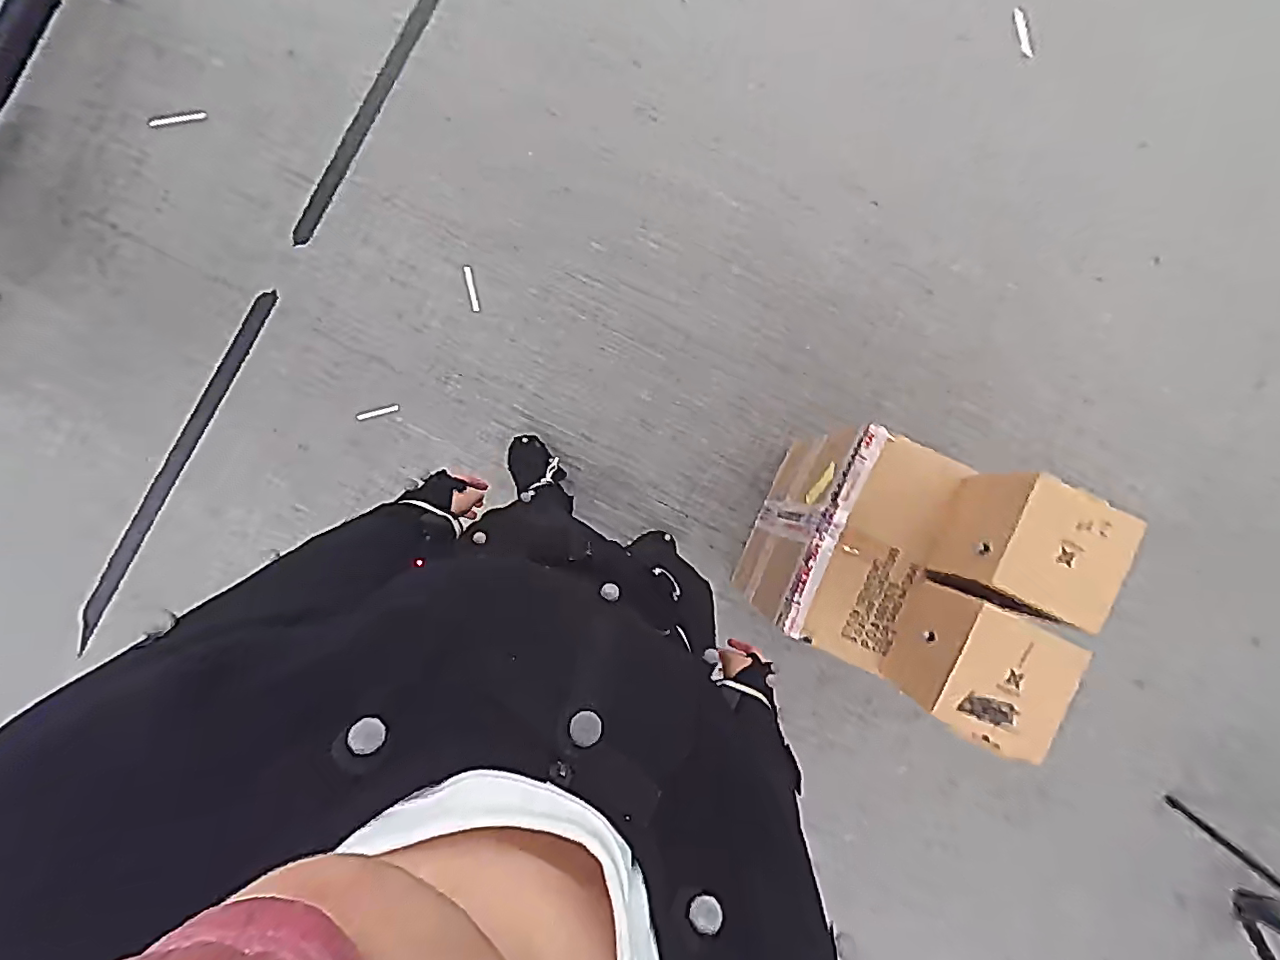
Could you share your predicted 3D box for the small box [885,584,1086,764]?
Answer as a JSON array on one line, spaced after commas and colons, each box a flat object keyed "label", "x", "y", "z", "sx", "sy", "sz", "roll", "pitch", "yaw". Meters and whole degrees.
[{"label": "small box", "x": 0.505, "y": 0.280, "z": 0.824, "sx": 0.168, "sy": 0.176, "sz": 0.179, "roll": 26, "pitch": 89, "yaw": 1}]

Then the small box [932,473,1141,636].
[{"label": "small box", "x": 0.585, "y": 0.107, "z": 0.827, "sx": 0.168, "sy": 0.176, "sz": 0.179, "roll": 27, "pitch": 86, "yaw": 0}]
